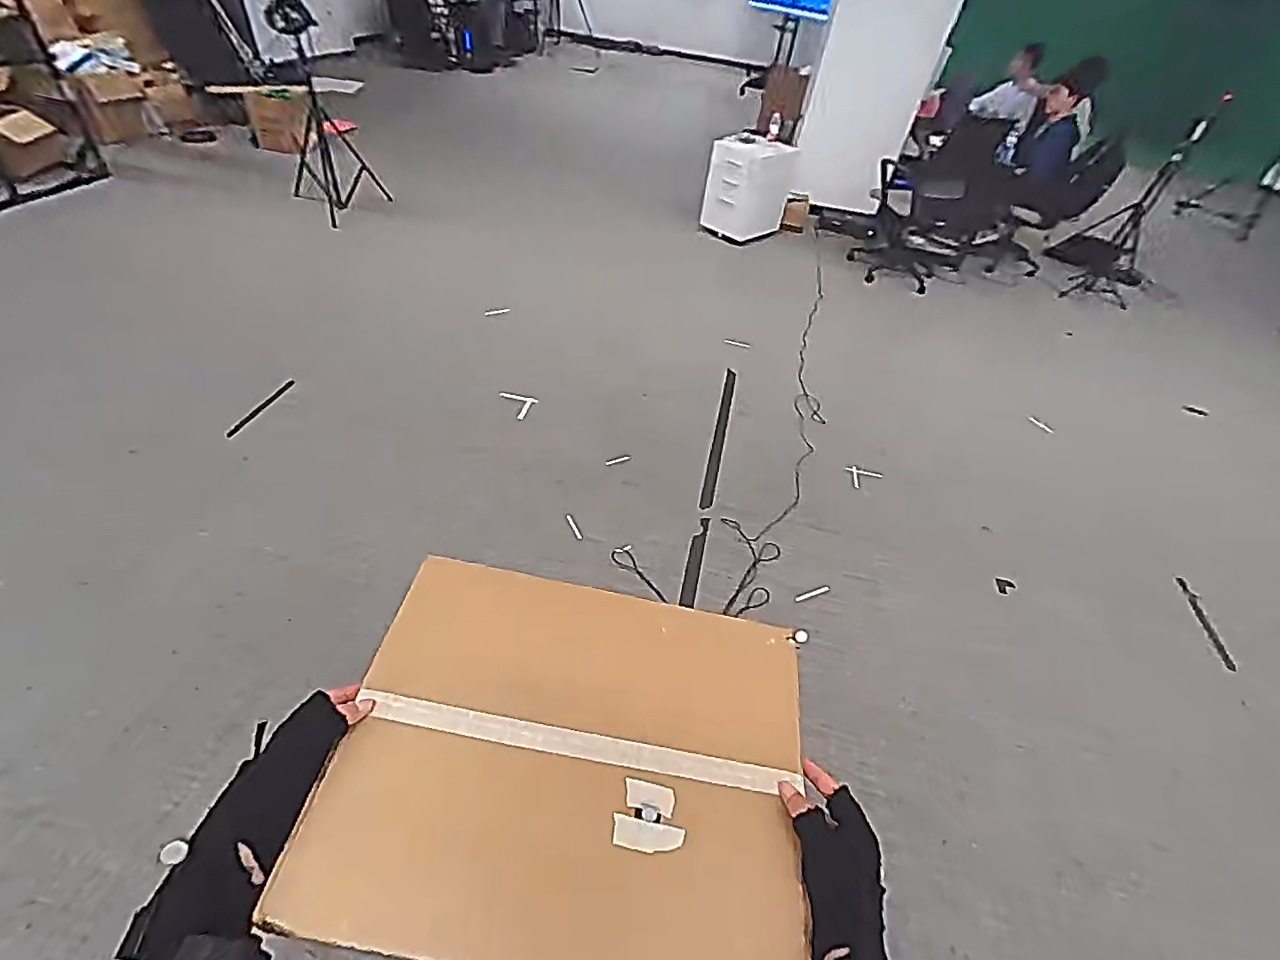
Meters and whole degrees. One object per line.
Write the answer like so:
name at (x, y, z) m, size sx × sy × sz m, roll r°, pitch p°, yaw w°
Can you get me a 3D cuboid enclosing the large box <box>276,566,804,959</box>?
large box at (-0.077, 0.339, 0.602) m, size 0.408 × 0.320 × 0.320 m, roll 13°, pitch 49°, yaw -2°
